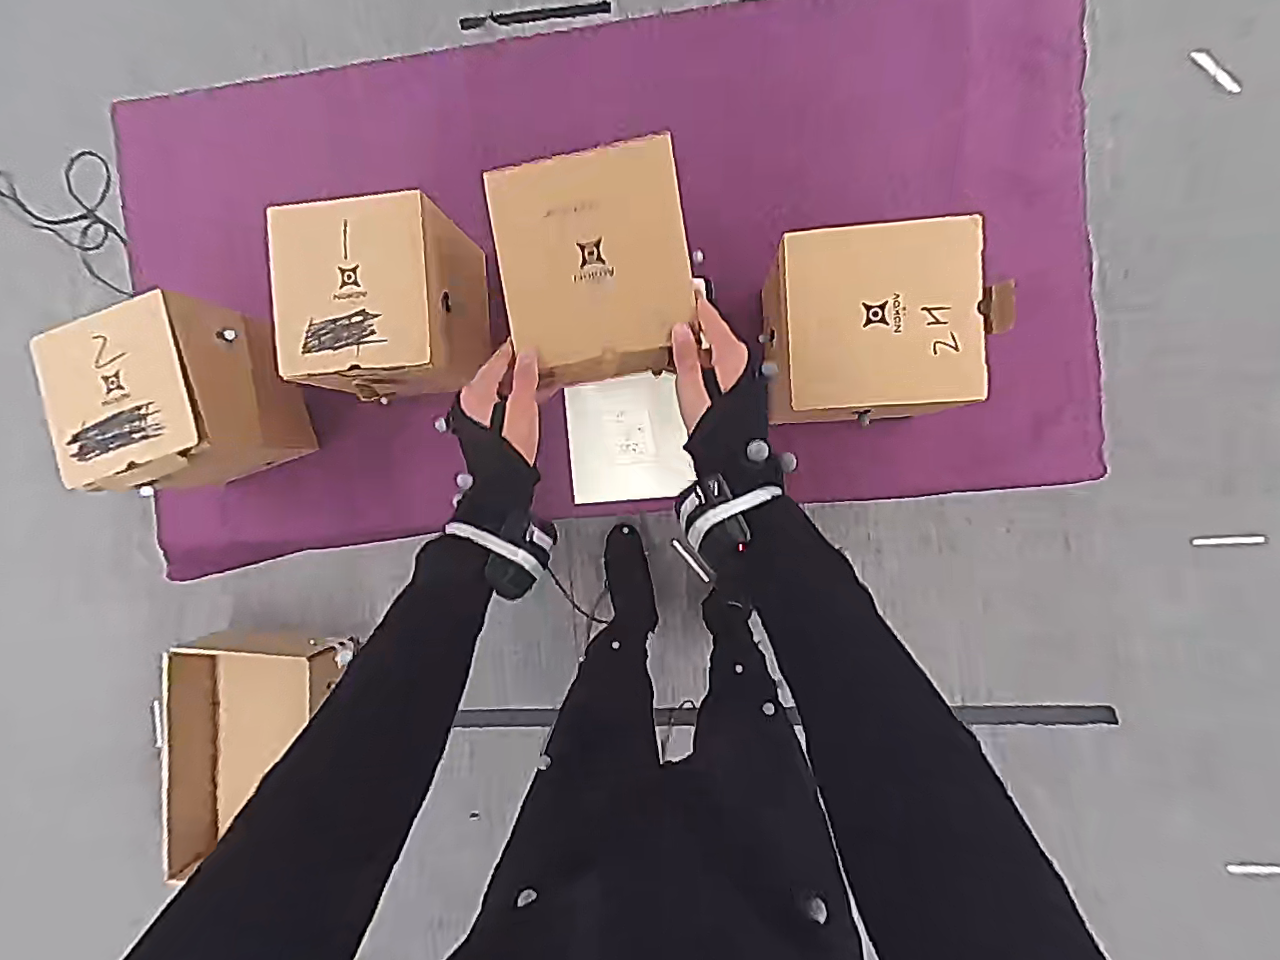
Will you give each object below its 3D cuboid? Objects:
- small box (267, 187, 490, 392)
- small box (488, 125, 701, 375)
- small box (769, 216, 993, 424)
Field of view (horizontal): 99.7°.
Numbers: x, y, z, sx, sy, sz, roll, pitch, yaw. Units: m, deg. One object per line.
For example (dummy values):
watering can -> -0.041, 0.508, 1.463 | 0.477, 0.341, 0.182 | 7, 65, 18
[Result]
small box -> -0.279, -0.197, 0.613 | 0.168, 0.176, 0.179 | -3, 91, 6
small box -> -0.030, -0.204, 0.537 | 0.168, 0.176, 0.179 | -8, 95, 6
small box -> 0.230, -0.149, 0.561 | 0.179, 0.176, 0.168 | -2, 92, 6
